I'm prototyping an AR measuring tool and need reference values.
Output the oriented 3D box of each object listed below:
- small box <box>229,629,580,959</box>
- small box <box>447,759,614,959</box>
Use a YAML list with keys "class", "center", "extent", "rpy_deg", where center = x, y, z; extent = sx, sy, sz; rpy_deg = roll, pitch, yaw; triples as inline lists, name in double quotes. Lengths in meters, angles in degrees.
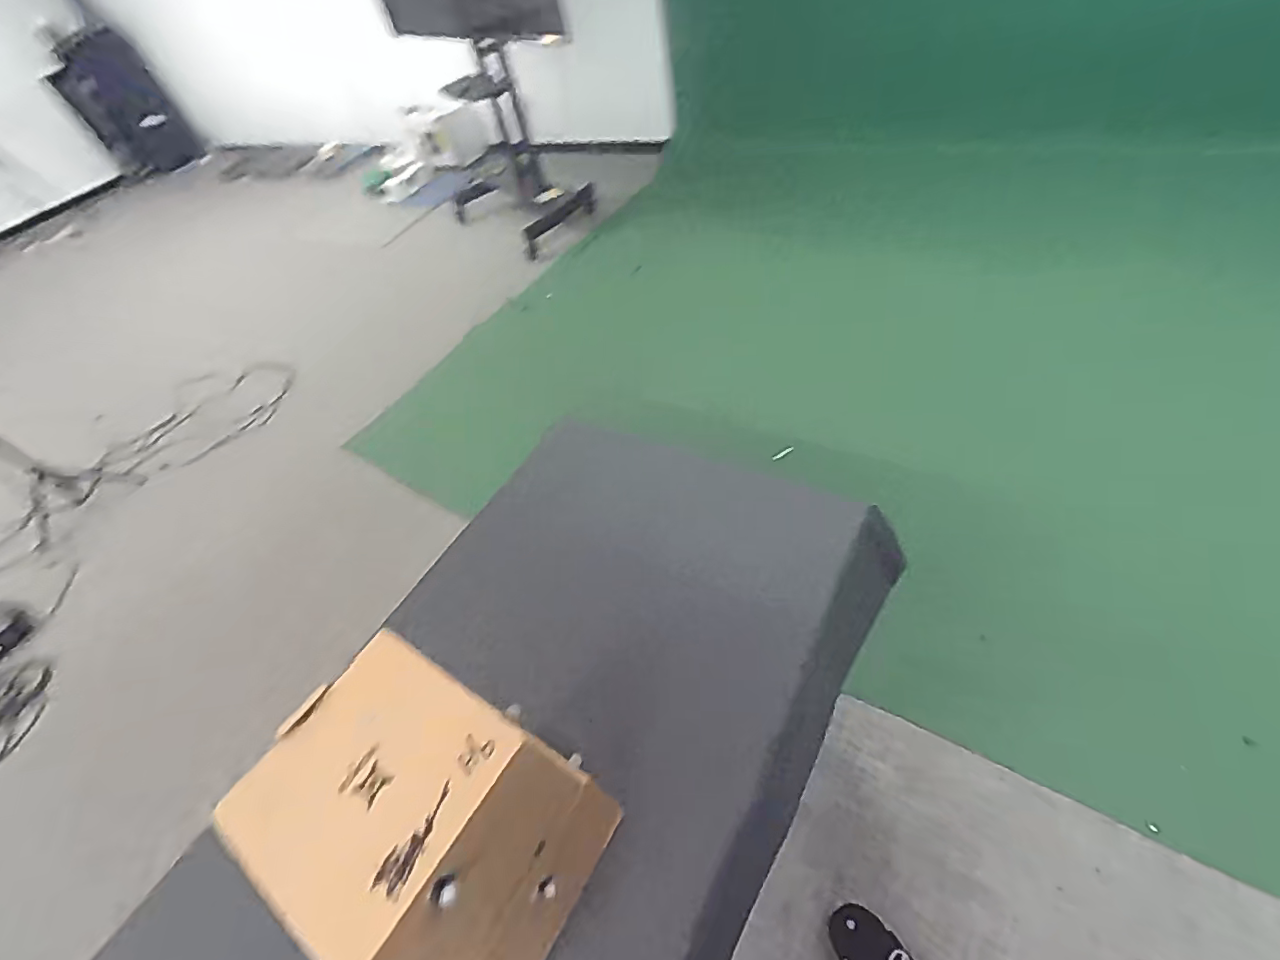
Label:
- class: "small box"
  center: [-0.179, 0.264, 0.460]
  extent: [0.179, 0.176, 0.168]
  rpy_deg: [19, 56, 27]
- class: "small box"
  center: [-0.147, 0.371, 0.577]
  extent: [0.168, 0.176, 0.179]
  rpy_deg: [20, 56, 28]
